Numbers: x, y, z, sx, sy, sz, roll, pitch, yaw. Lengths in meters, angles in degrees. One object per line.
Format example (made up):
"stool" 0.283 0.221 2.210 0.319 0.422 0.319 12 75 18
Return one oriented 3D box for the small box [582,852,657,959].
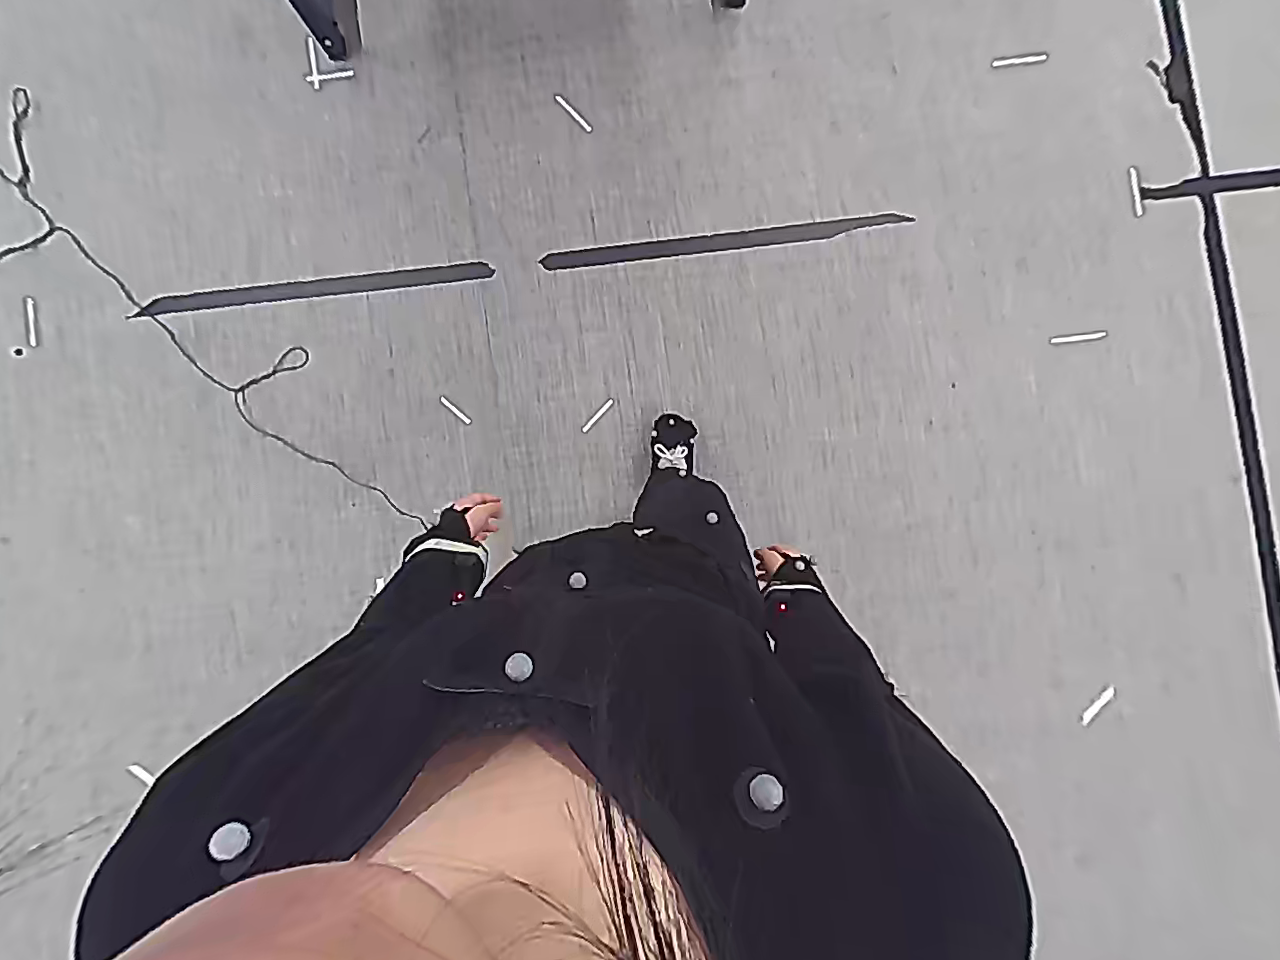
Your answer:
"small box" -0.052 1.098 1.396 0.168 0.176 0.179 -9 89 0
